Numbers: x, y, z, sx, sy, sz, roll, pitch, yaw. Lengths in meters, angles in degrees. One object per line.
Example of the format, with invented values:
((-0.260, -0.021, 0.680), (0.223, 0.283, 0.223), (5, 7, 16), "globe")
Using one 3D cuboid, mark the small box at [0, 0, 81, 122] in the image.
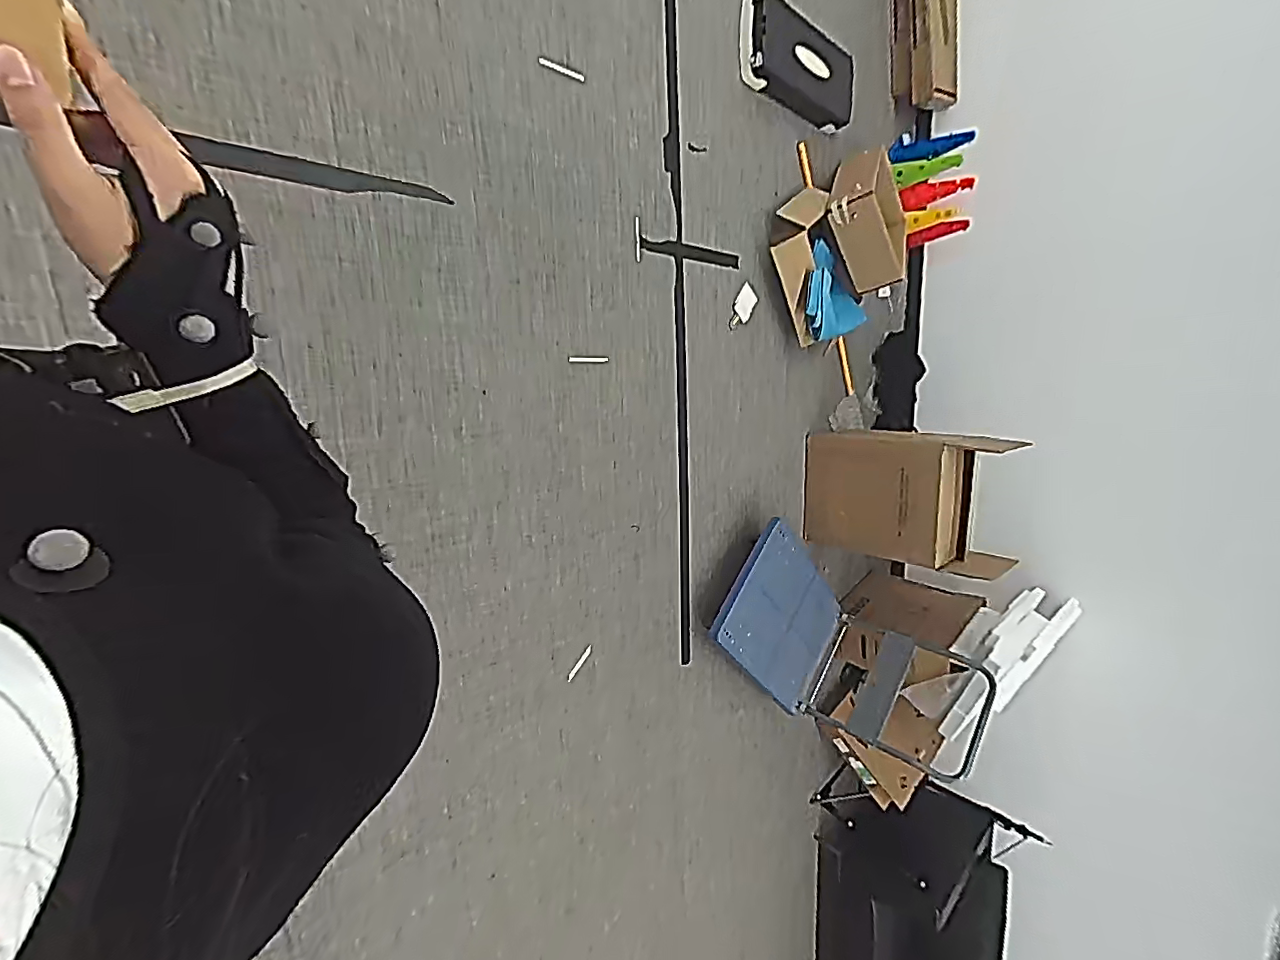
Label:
((-0.367, -0.276, 0.230), (0.168, 0.176, 0.179), (-11, 119, -44), "small box")
